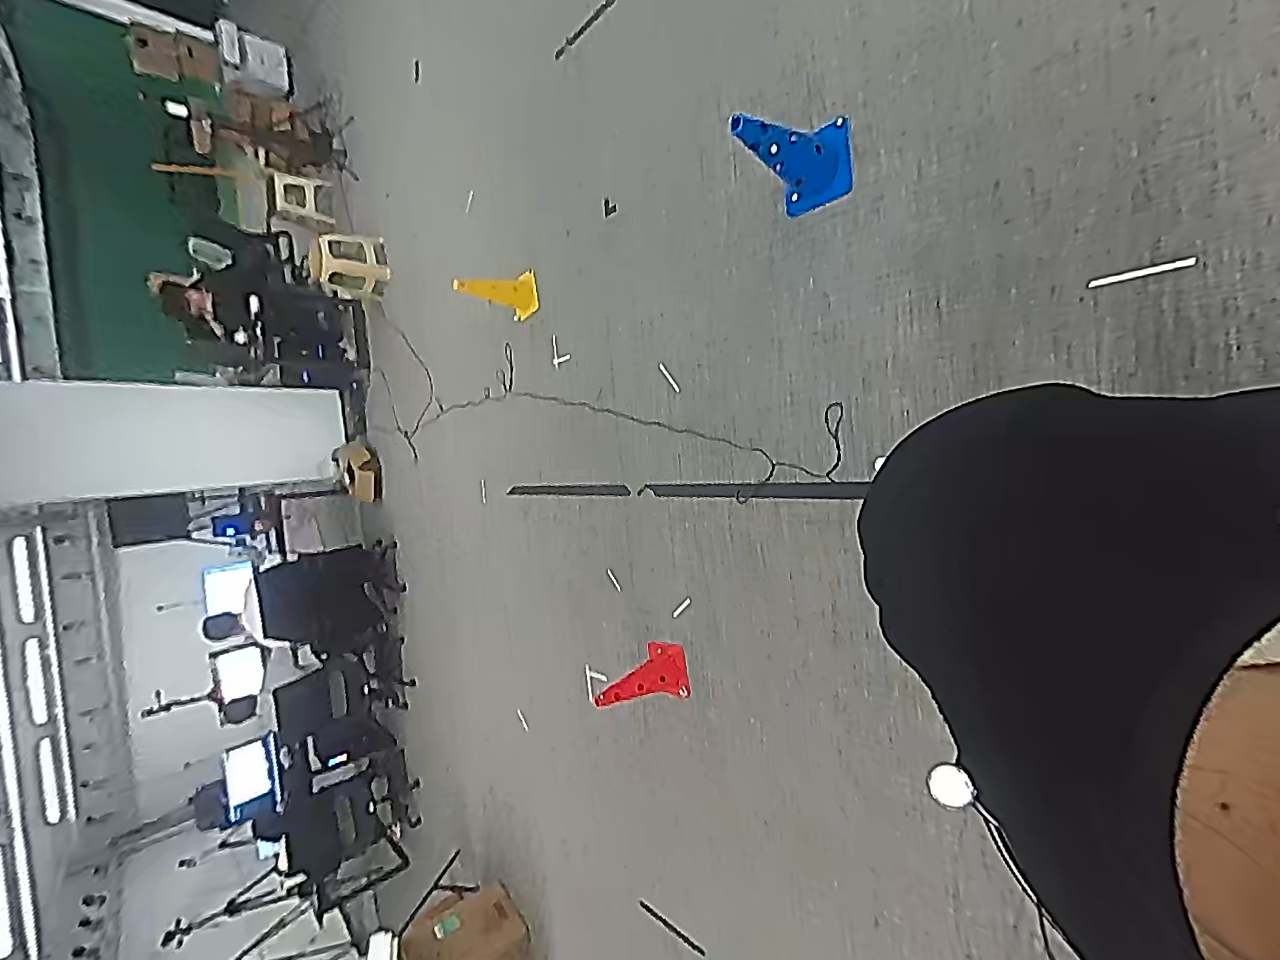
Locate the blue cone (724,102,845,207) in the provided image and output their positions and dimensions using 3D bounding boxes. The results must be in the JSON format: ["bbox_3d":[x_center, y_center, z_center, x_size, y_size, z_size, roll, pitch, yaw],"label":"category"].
[{"bbox_3d":[0.344,-0.845,1.356,0.193,0.380,0.192,-1,94,48],"label":"blue cone"}]

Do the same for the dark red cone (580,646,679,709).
[{"bbox_3d":[-0.049,0.755,1.976,0.202,0.394,0.201,-13,84,48],"label":"dark red cone"}]
